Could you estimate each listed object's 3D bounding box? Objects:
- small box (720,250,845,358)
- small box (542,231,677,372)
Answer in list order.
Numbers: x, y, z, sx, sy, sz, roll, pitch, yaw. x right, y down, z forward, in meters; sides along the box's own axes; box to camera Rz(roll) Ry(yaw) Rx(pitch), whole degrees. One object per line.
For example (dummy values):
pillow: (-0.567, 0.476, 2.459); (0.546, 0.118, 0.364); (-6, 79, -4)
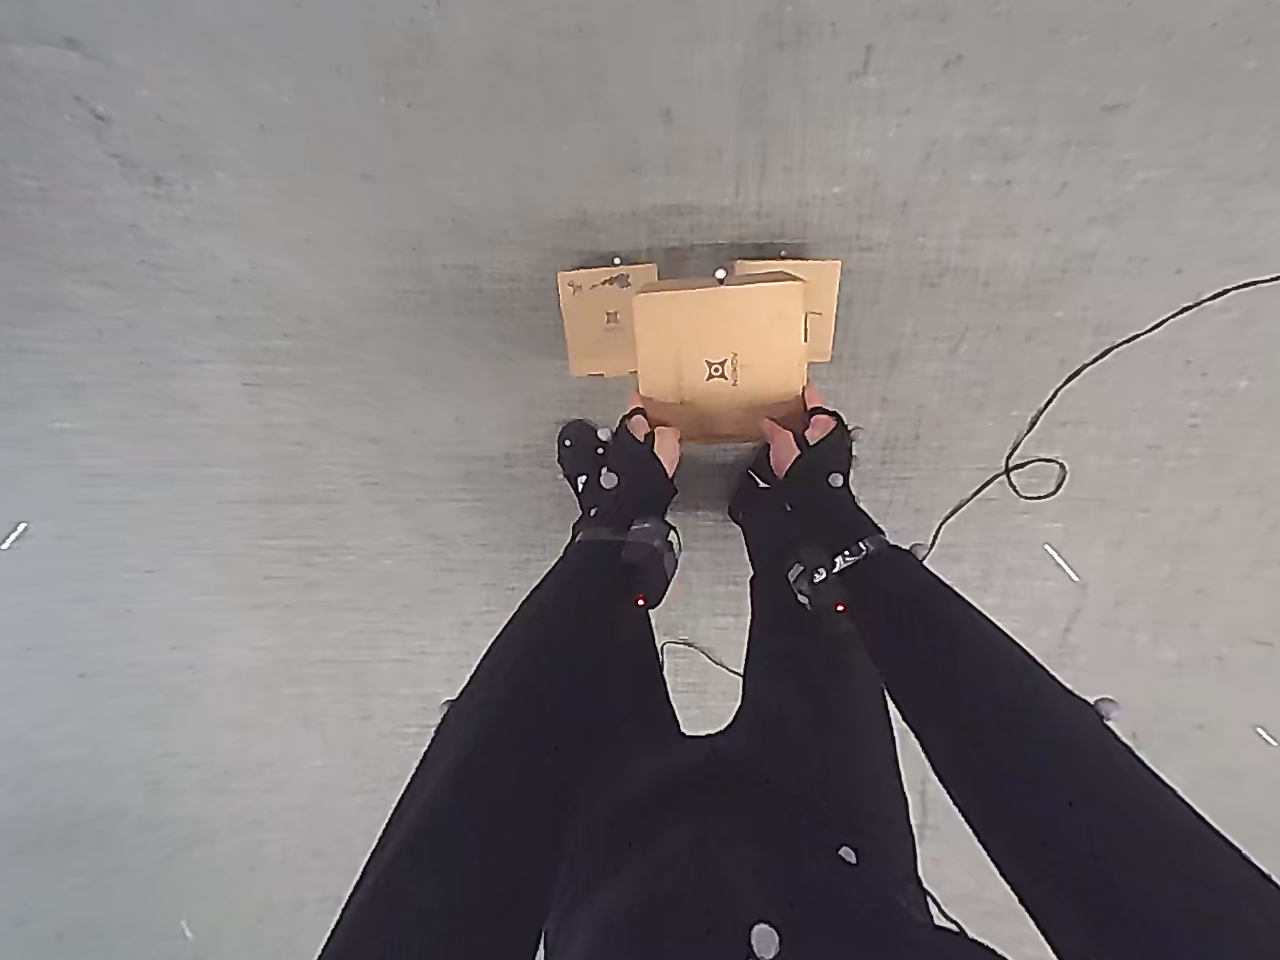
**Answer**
small box: (0.243, -0.322, 0.976); (0.179, 0.176, 0.168); (3, 114, 1)
small box: (-0.044, -0.321, 0.979); (0.179, 0.176, 0.168); (-32, 106, 15)
